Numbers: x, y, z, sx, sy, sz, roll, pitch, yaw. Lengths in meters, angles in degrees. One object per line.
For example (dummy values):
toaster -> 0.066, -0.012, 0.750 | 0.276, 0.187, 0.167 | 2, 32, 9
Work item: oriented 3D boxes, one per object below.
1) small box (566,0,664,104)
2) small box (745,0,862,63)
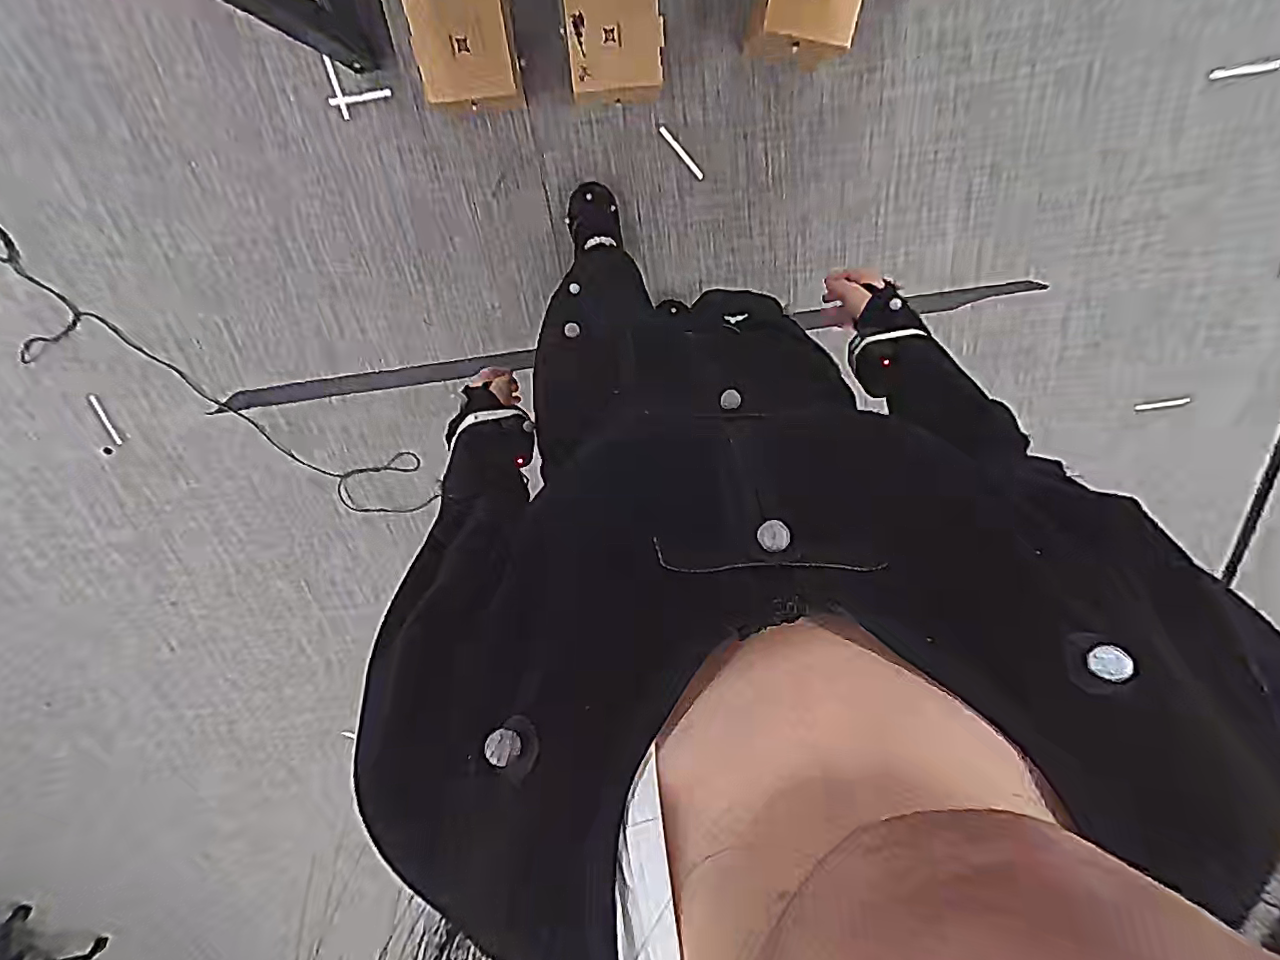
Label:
small box -> -0.050, -0.857, 1.068 | 0.179, 0.176, 0.168 | -5, 117, -1
small box -> 0.321, -0.937, 1.049 | 0.179, 0.176, 0.168 | 7, 117, -6
